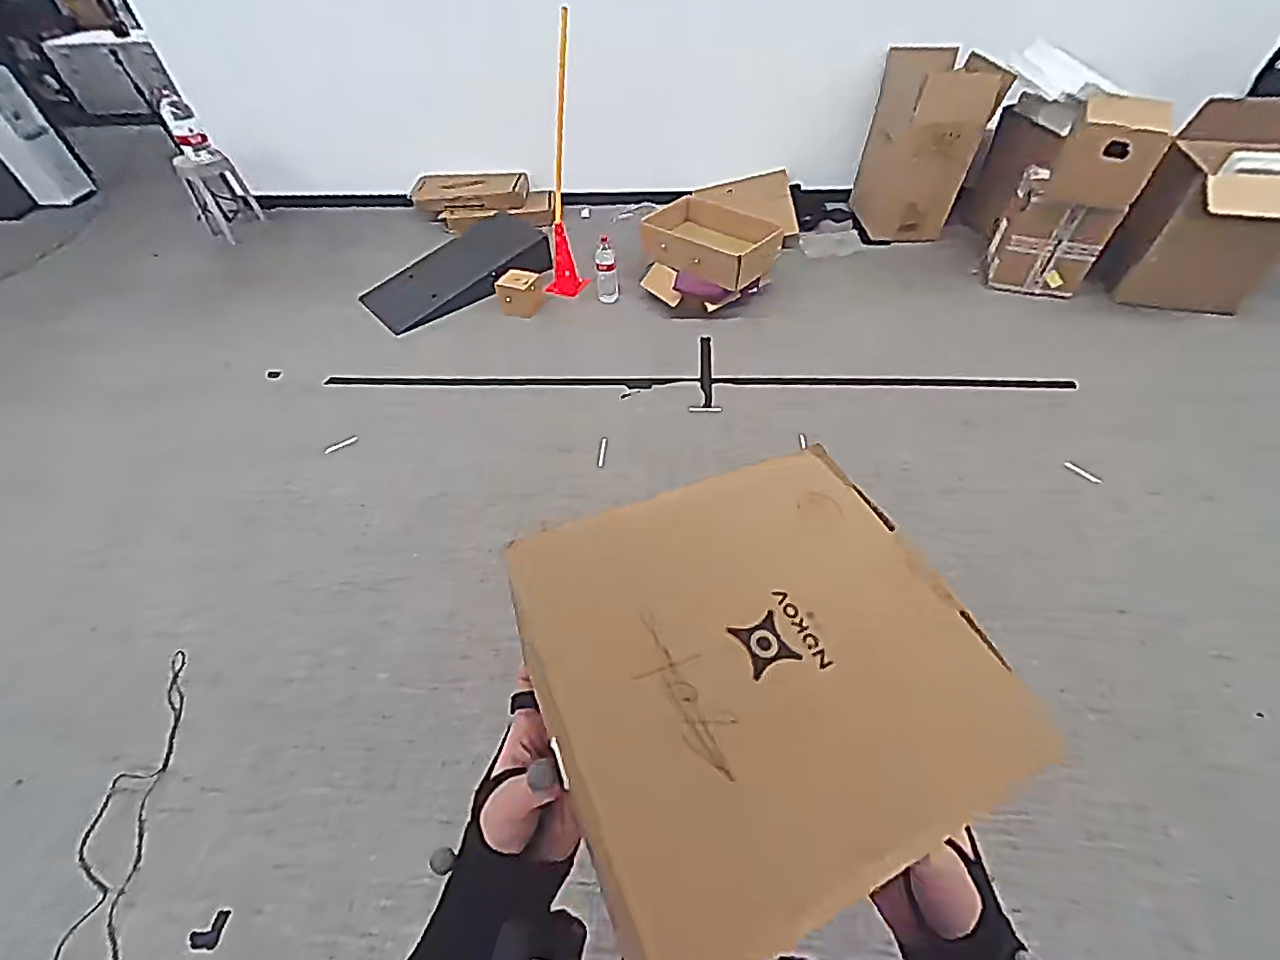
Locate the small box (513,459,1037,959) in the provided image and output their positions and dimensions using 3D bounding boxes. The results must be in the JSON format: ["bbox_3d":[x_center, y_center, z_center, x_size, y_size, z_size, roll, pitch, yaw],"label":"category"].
[{"bbox_3d":[0.043,0.120,0.294,0.179,0.176,0.168,-18,56,-20],"label":"small box"}]
